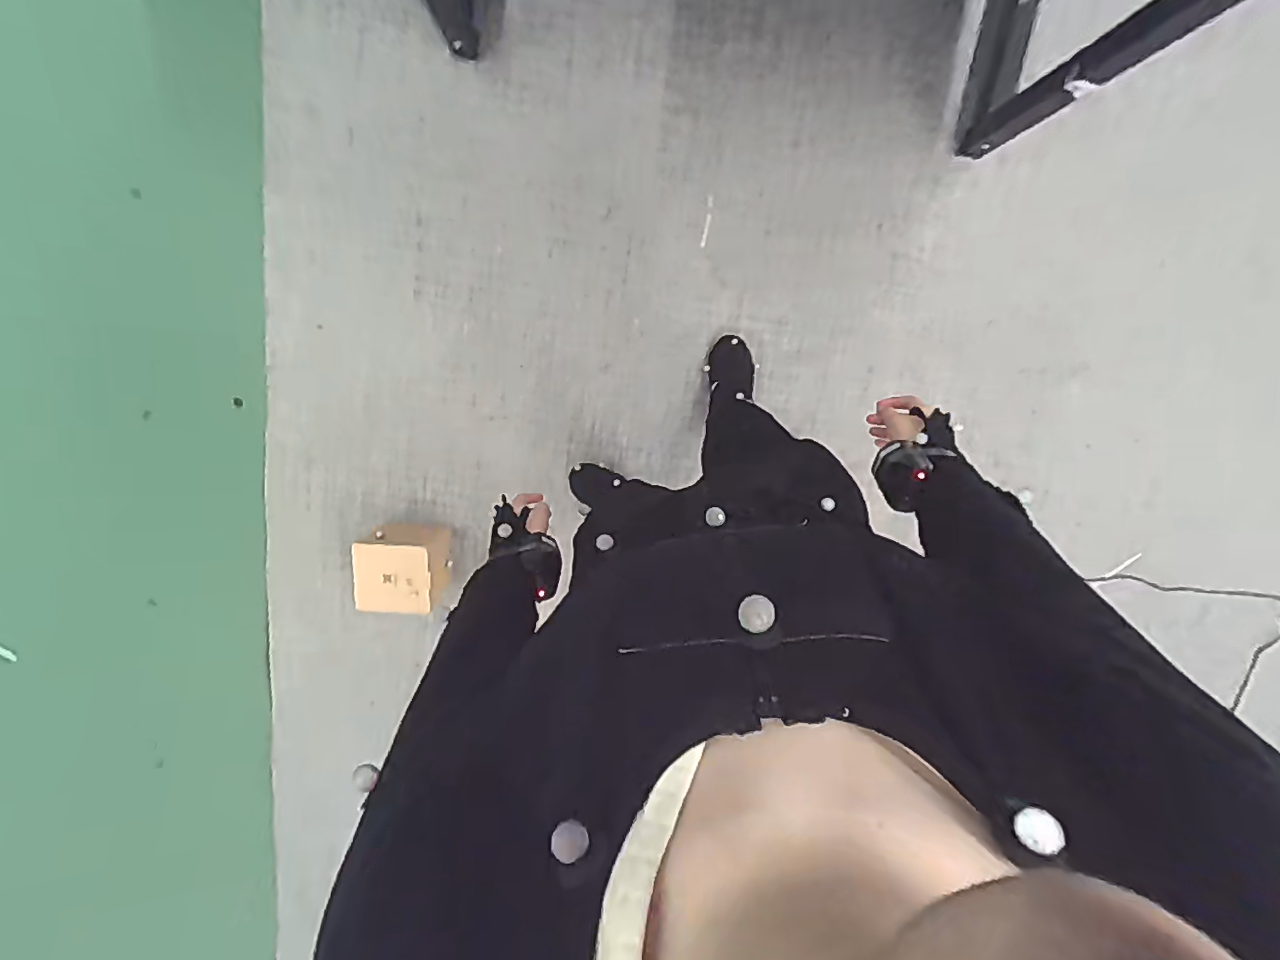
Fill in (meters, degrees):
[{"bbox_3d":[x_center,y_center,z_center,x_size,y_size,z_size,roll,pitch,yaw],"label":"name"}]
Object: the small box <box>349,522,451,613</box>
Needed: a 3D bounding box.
[{"bbox_3d":[-0.572,0.205,1.305,0.179,0.176,0.168,3,103,-1],"label":"small box"}]
